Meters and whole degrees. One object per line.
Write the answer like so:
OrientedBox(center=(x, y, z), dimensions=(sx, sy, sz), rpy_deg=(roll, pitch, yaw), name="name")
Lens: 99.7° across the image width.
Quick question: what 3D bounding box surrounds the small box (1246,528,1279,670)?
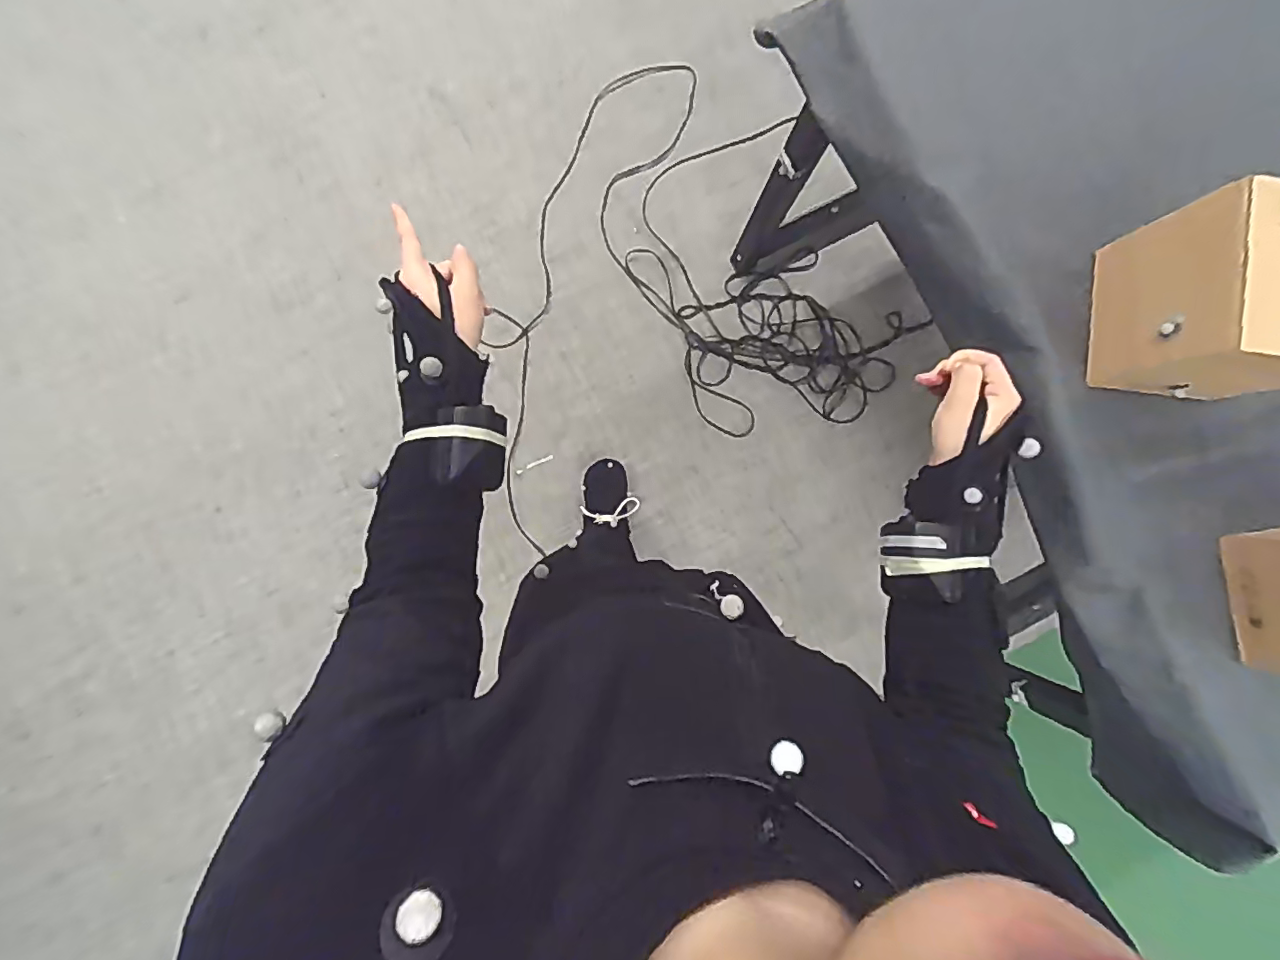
OrientedBox(center=(0.827, 0.134, 0.588), dimensions=(0.179, 0.176, 0.168), rpy_deg=(-8, 89, -4), name="small box")
